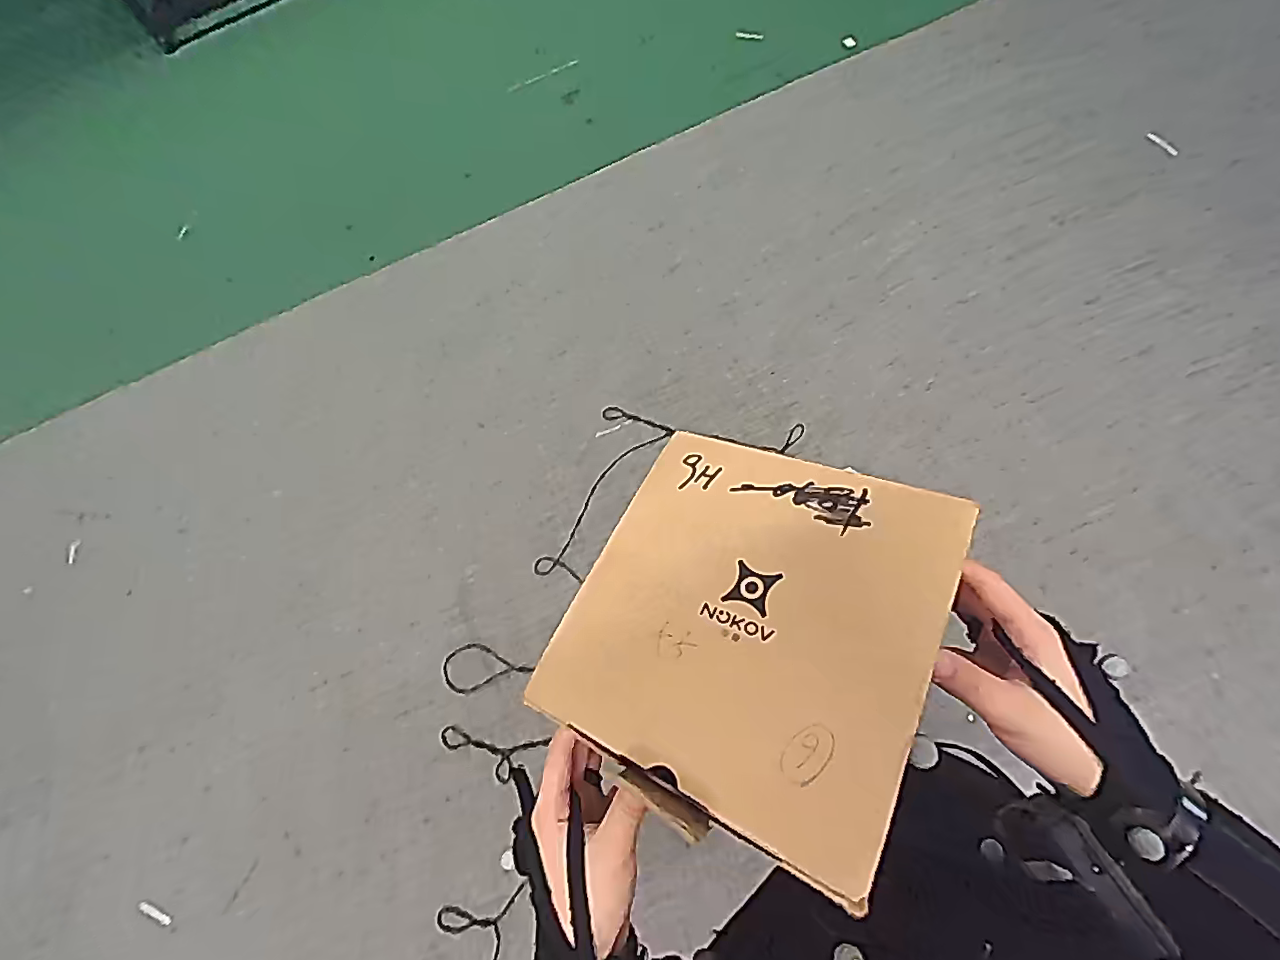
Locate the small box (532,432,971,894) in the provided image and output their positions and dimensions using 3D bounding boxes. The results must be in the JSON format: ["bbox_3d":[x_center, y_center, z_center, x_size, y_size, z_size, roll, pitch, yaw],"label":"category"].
[{"bbox_3d":[0.075,0.103,0.327,0.168,0.176,0.179,18,65,30],"label":"small box"}]
